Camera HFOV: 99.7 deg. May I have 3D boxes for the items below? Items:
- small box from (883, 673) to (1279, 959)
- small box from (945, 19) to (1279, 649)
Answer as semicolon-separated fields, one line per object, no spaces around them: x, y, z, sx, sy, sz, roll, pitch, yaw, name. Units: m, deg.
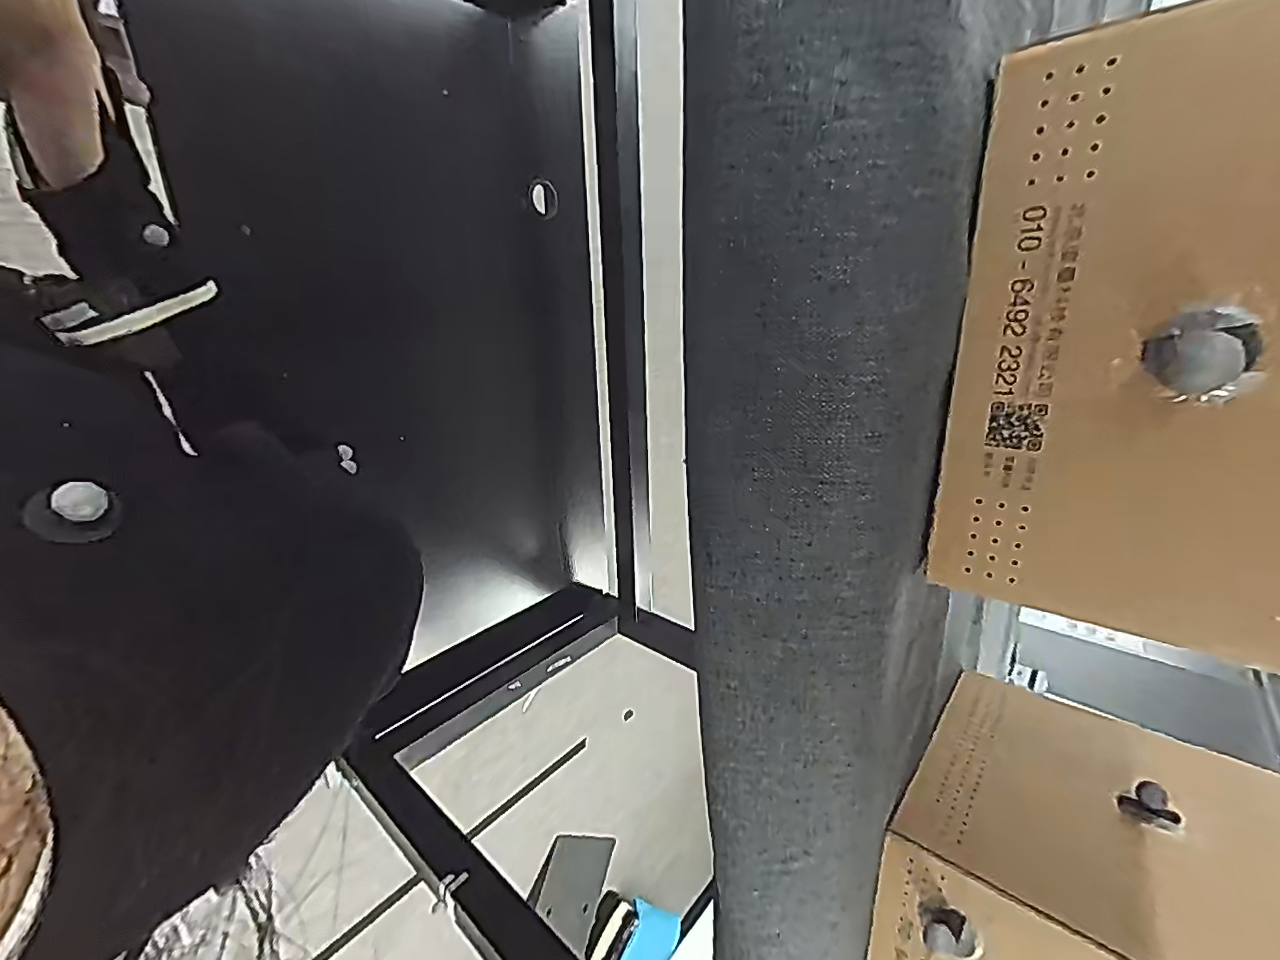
0.238;0.235;0.285;0.179;0.176;0.168;-16;112;-49;small box
0.227;-0.050;0.192;0.179;0.176;0.168;-22;116;-47;small box
